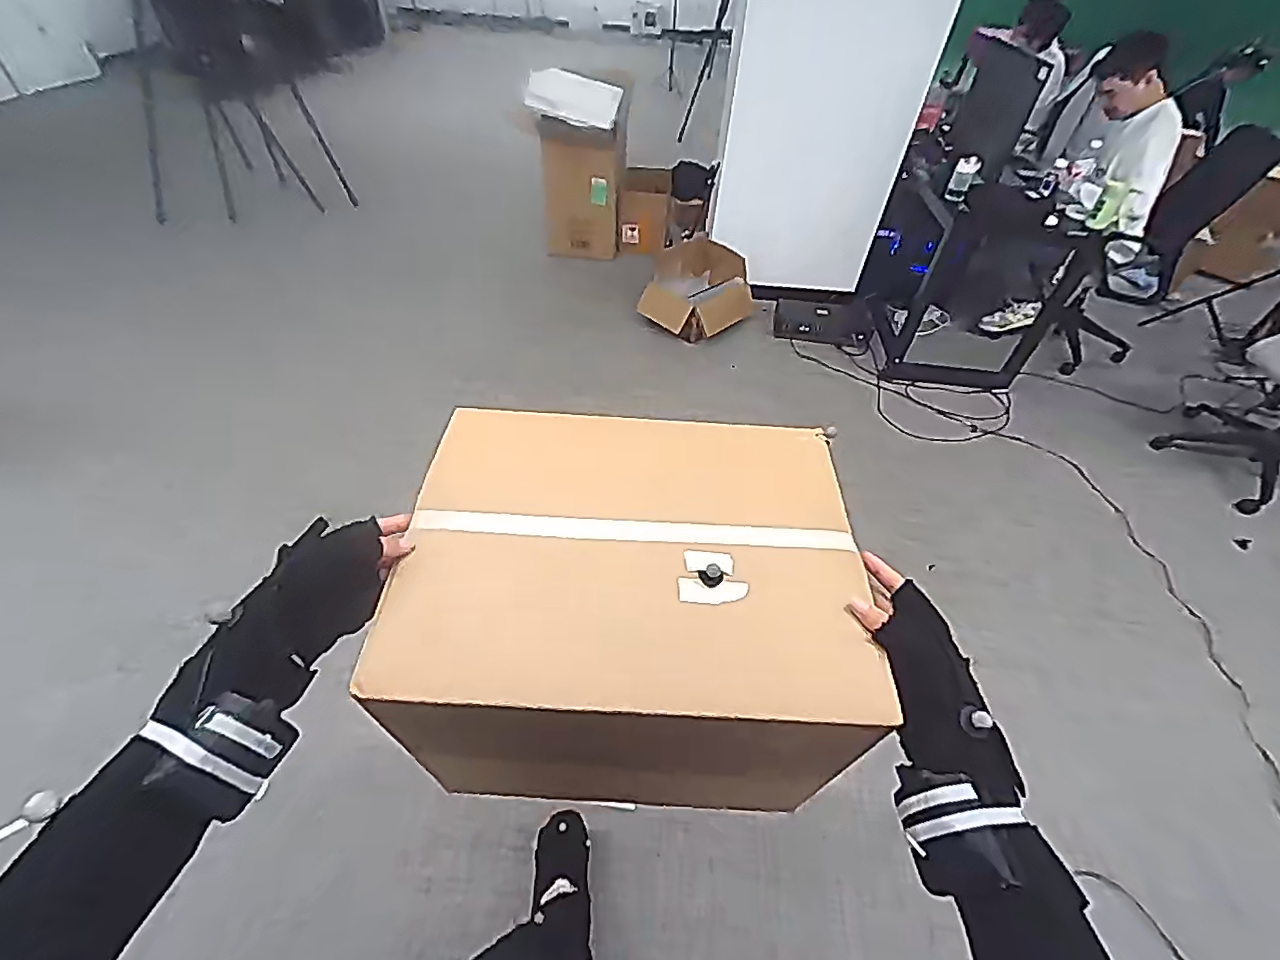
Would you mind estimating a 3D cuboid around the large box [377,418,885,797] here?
[{"bbox_3d":[-0.011,0.153,0.623,0.408,0.320,0.320,4,49,-1],"label":"large box"}]
